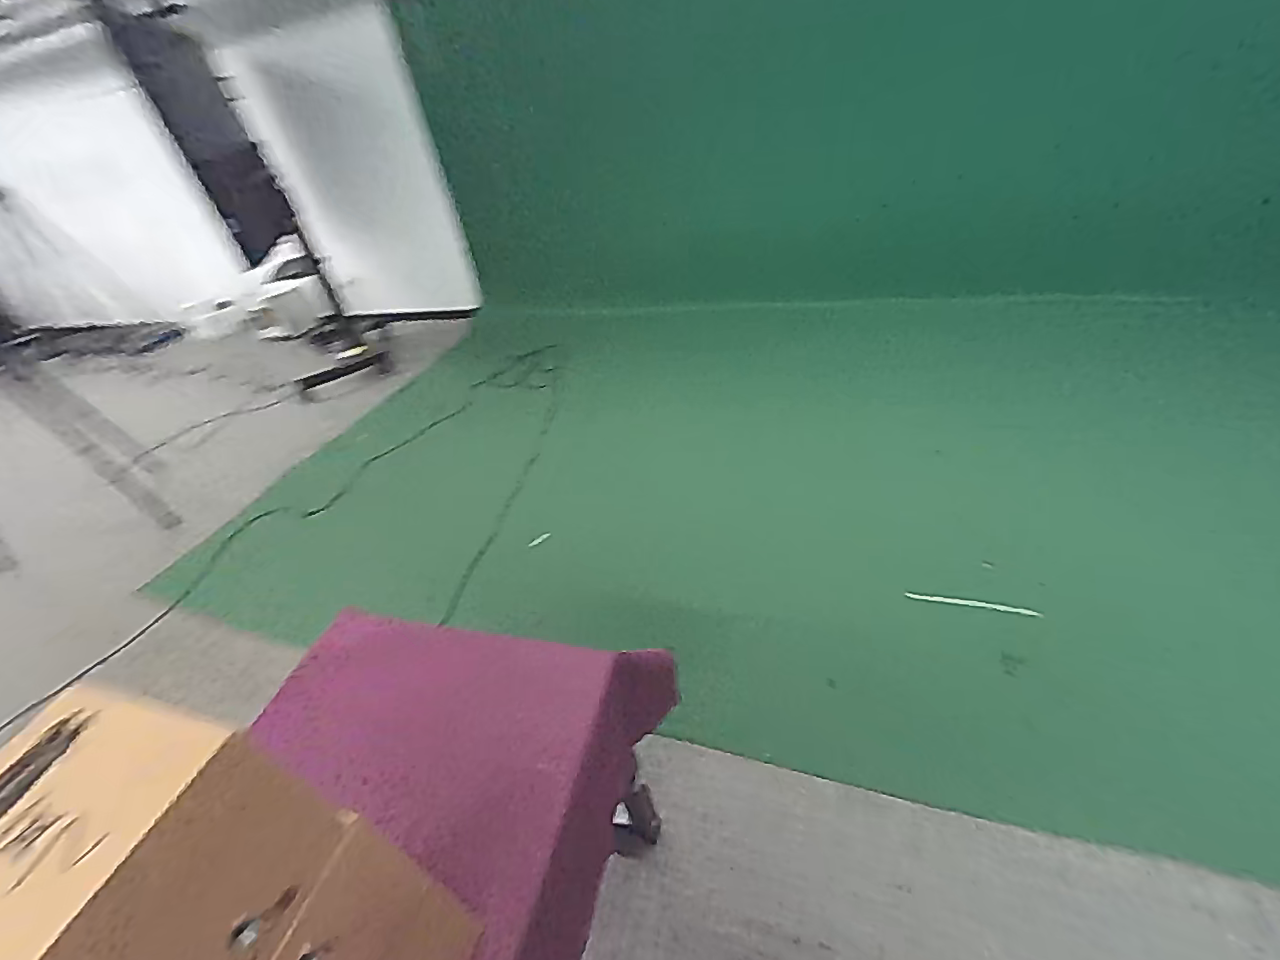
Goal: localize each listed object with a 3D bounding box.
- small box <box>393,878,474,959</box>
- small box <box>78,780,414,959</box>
[{"bbox_3d":[-0.308,0.538,0.581,0.168,0.176,0.179,3,40,19],"label":"small box"},{"bbox_3d":[-0.333,0.410,0.484,0.168,0.176,0.179,3,41,18],"label":"small box"}]
